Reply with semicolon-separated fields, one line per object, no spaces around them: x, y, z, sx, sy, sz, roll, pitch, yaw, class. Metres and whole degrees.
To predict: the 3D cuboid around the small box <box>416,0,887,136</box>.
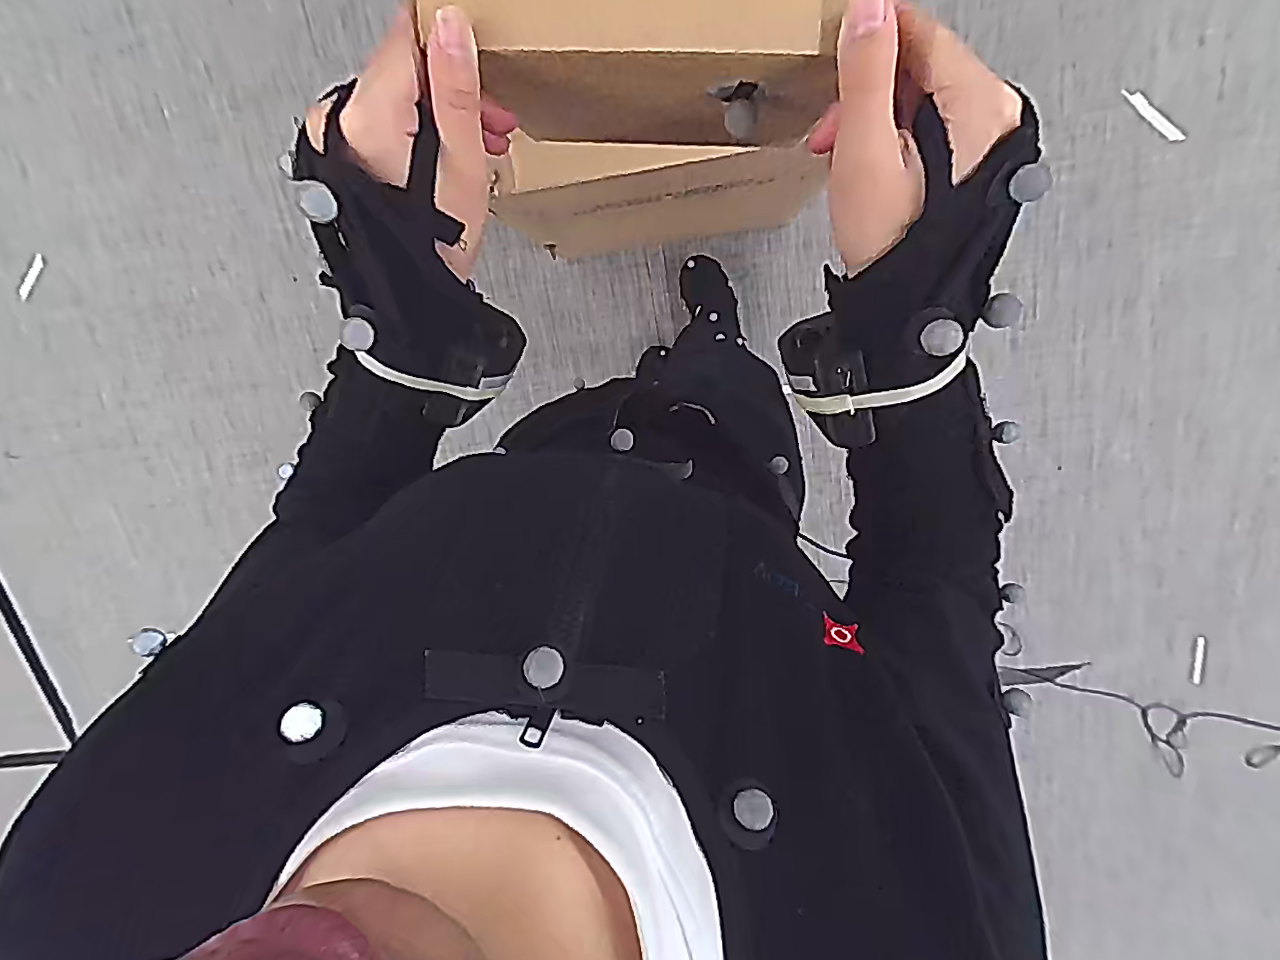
0.012;-0.271;0.246;0.179;0.176;0.168;4;111;4;small box
